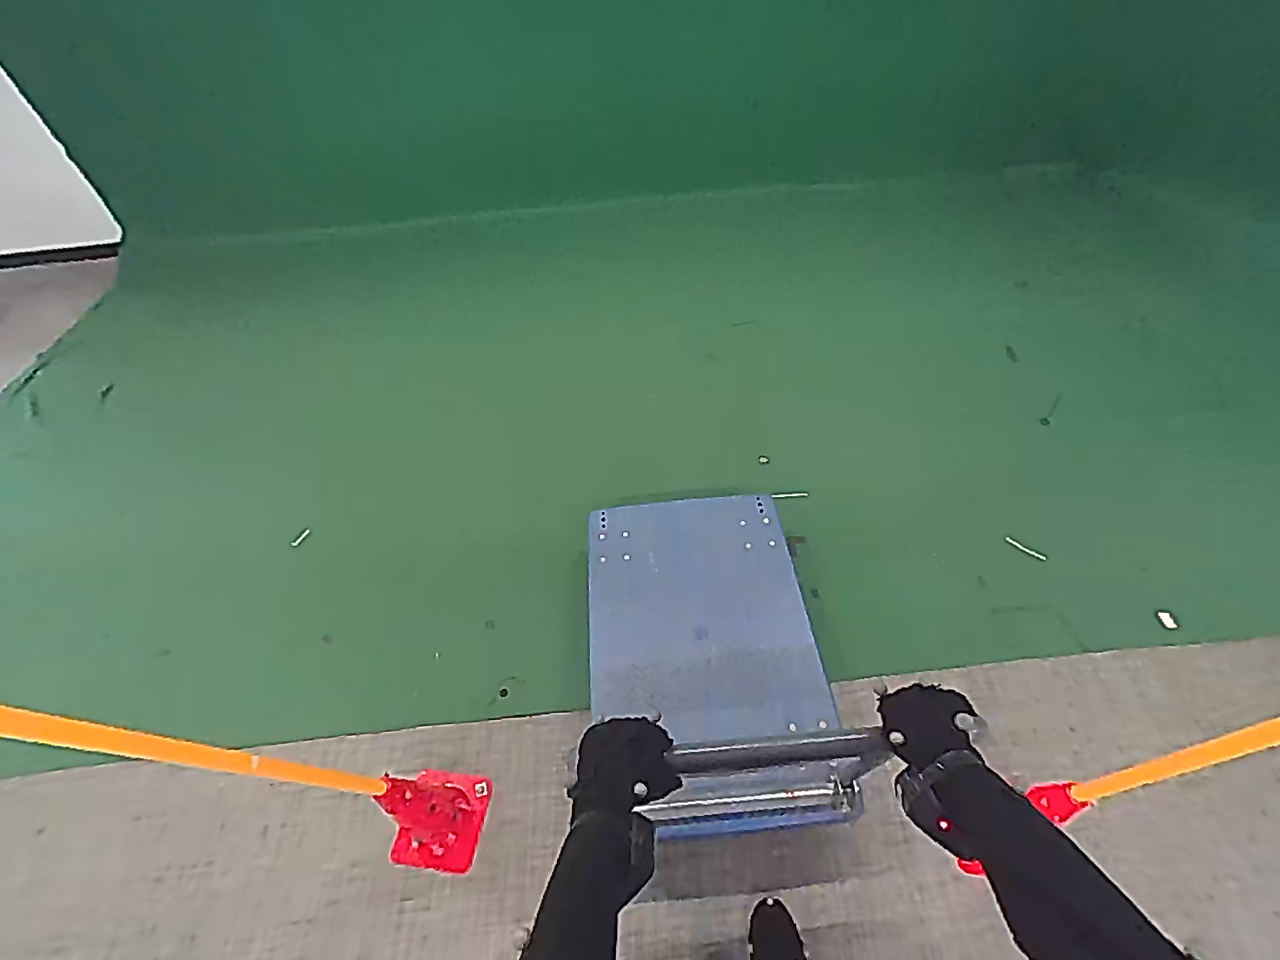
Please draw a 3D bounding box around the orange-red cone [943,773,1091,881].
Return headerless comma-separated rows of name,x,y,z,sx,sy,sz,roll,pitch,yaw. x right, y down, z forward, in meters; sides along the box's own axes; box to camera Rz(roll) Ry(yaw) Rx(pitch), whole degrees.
orange-red cone,0.803,0.678,1.105,0.198,0.360,0.199,2,50,7
